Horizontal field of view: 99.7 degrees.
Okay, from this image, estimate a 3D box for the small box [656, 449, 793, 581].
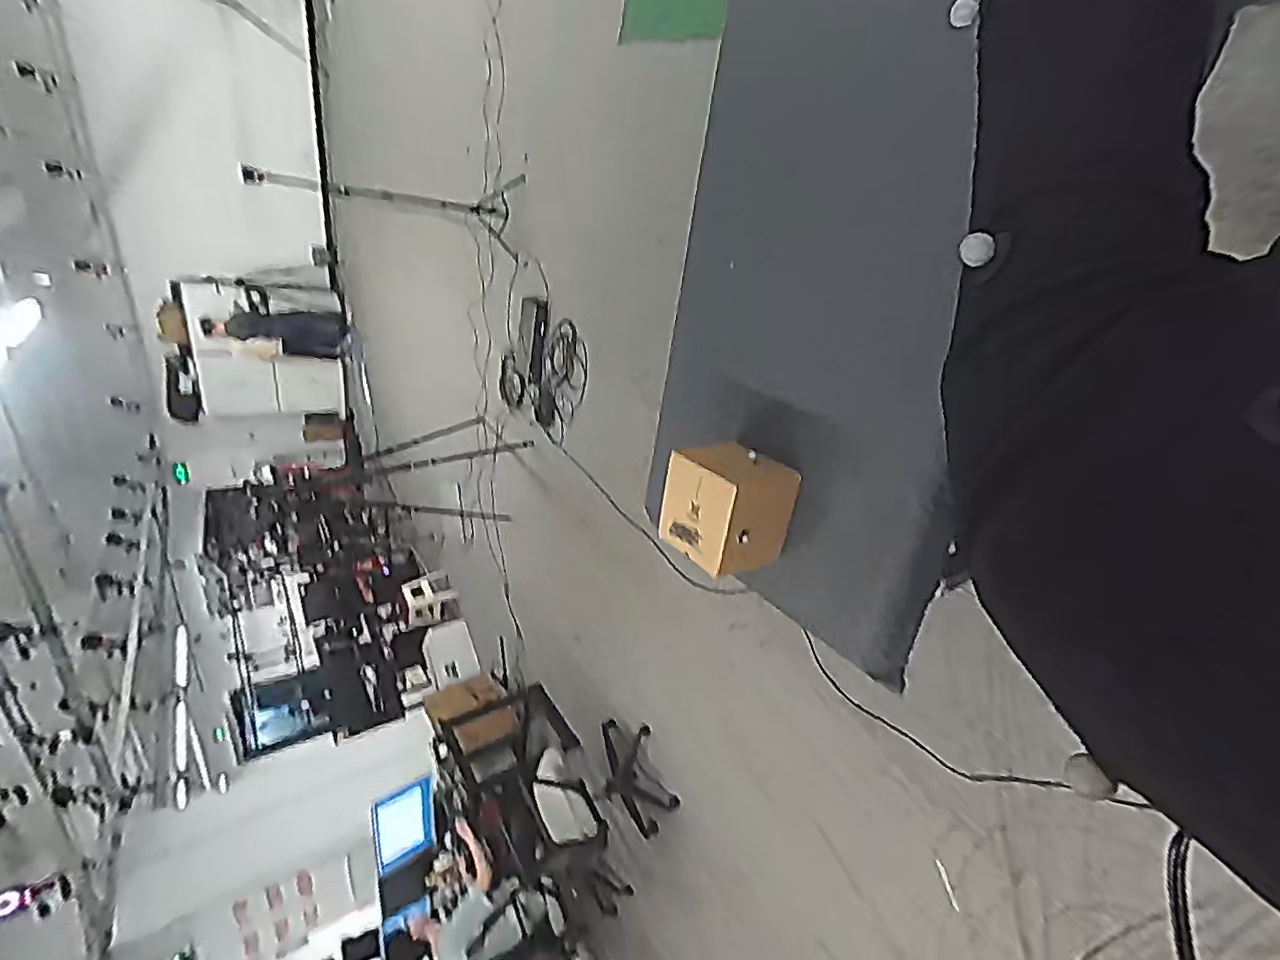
[{"bbox_3d":[0.153,0.054,0.990,0.168,0.176,0.179,32,122,45],"label":"small box"}]
